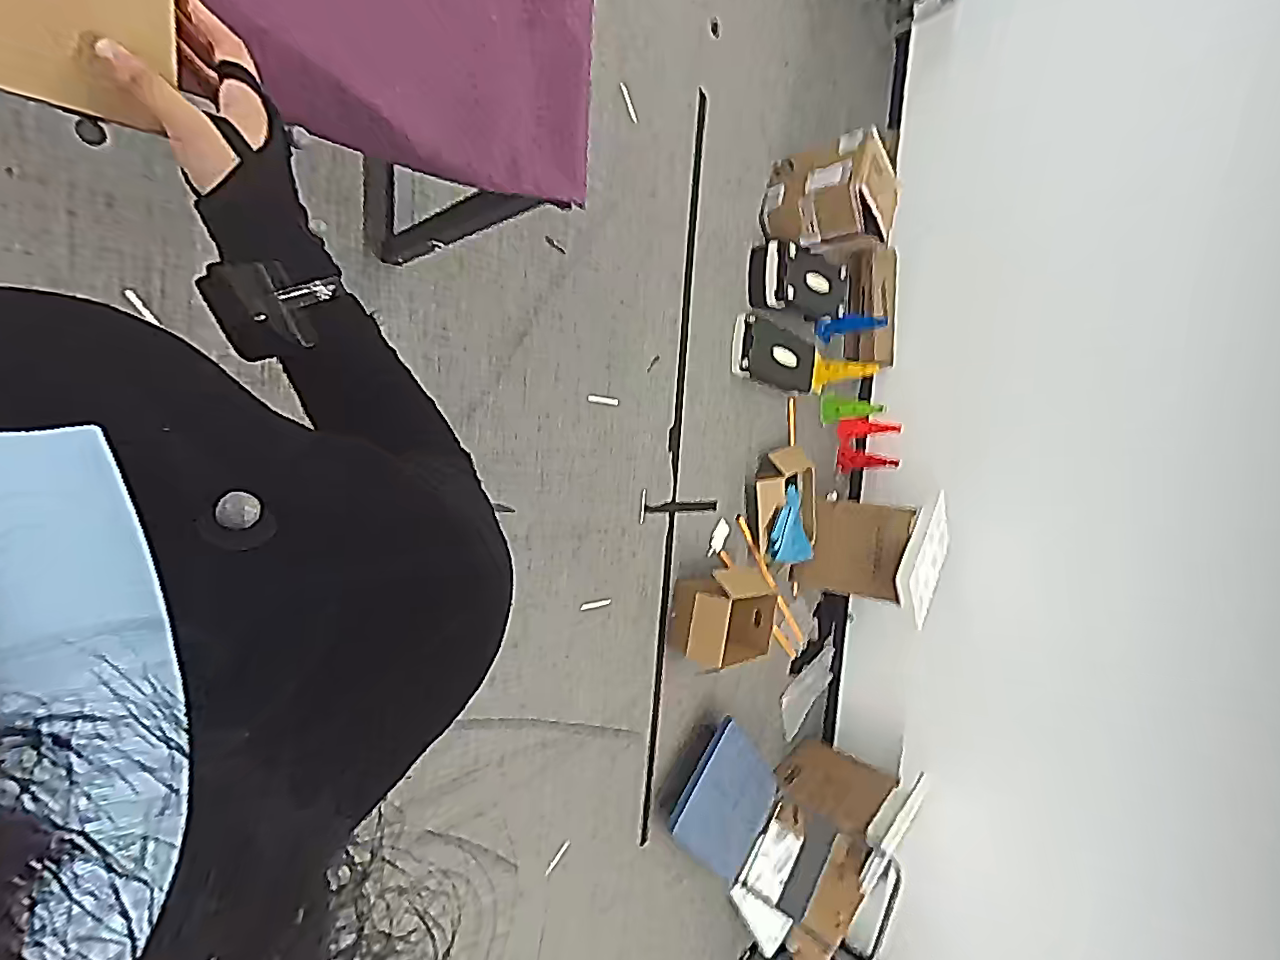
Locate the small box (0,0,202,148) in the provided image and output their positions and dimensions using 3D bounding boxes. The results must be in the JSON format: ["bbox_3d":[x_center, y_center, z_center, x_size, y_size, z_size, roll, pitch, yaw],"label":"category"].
[{"bbox_3d":[-0.394,-0.331,0.338,0.179,0.176,0.168,-2,115,-41],"label":"small box"}]
